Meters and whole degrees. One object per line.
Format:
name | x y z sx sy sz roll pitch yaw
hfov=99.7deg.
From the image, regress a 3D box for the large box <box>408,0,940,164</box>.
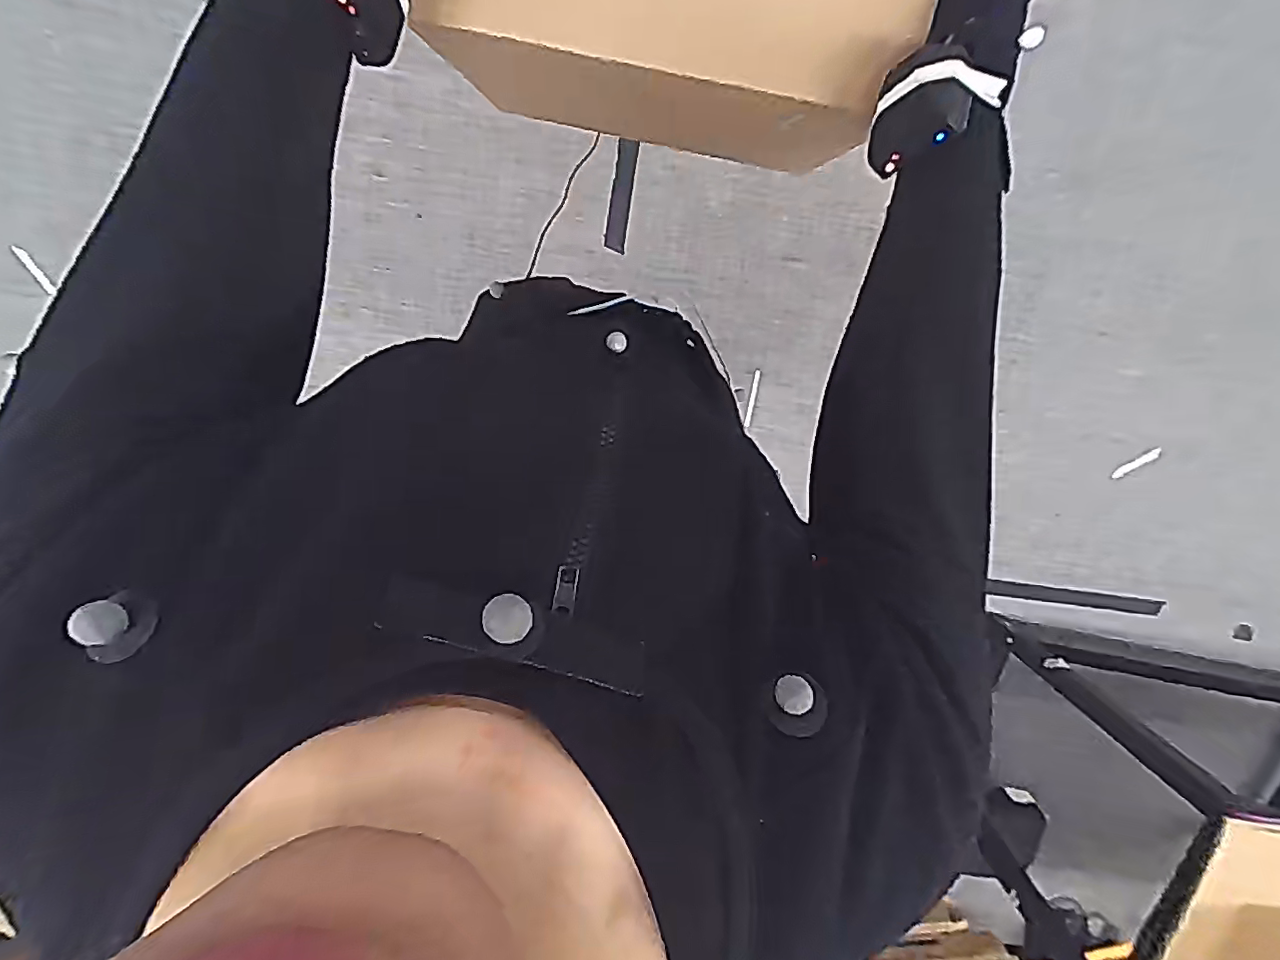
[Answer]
large box | 0.044 -0.519 0.498 0.408 0.320 0.320 10 114 -3
